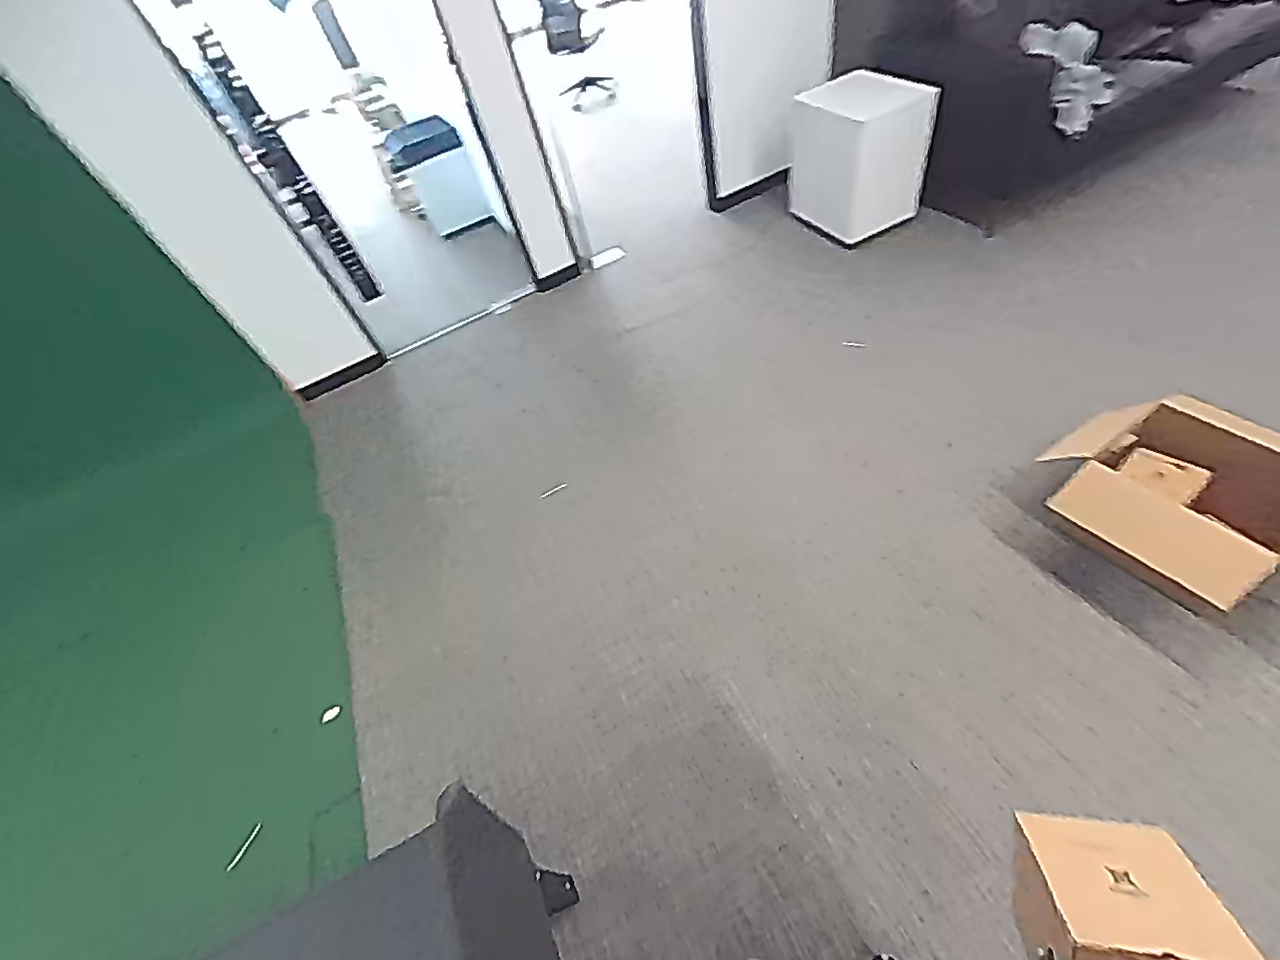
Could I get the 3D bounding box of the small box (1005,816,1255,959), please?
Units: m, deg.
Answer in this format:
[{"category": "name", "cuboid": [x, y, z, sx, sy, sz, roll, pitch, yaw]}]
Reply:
[{"category": "small box", "cuboid": [0.543, 0.534, 0.619, 0.168, 0.176, 0.179, -1, 11, 16]}]
